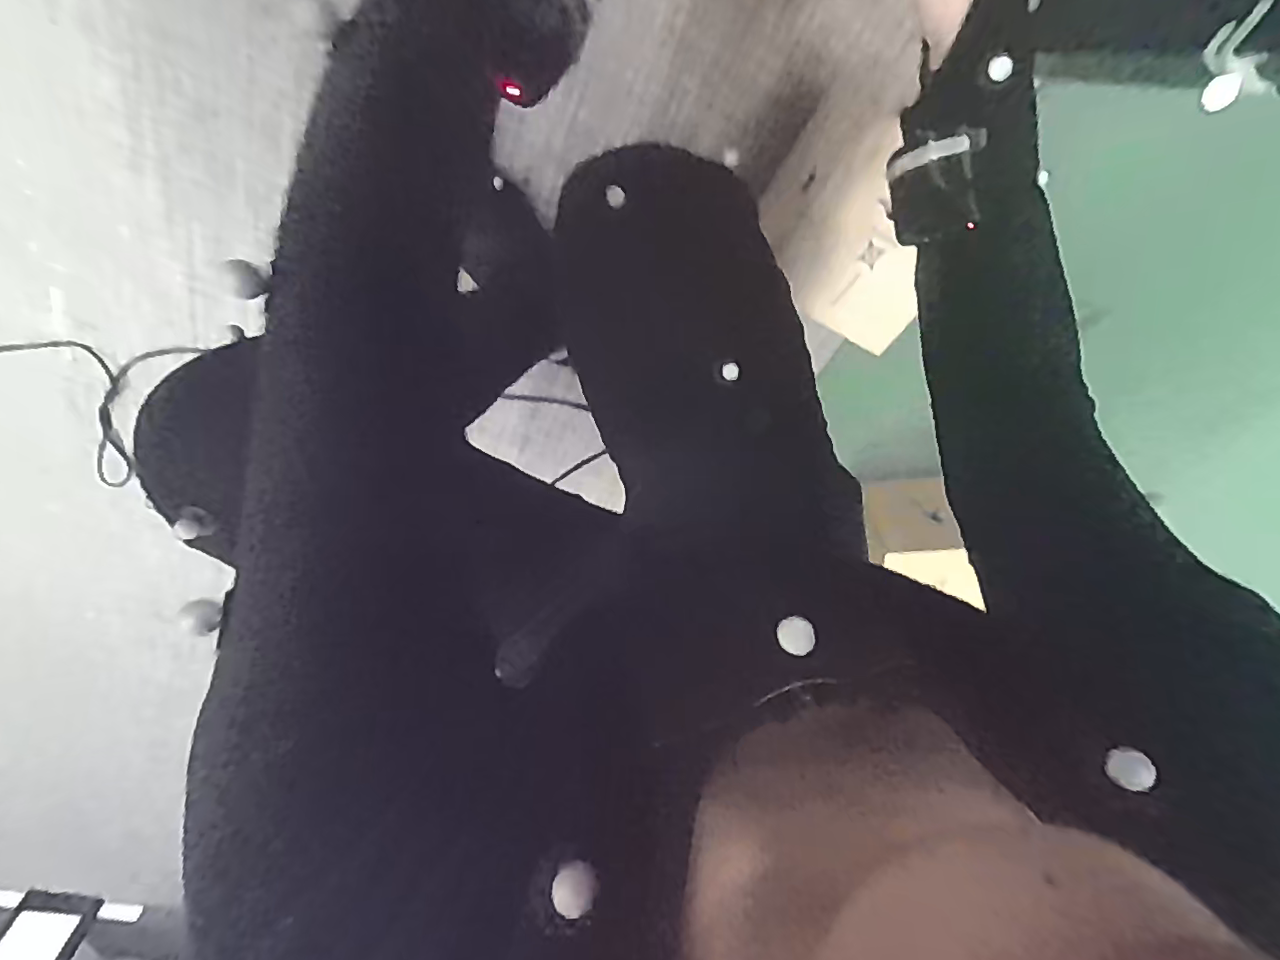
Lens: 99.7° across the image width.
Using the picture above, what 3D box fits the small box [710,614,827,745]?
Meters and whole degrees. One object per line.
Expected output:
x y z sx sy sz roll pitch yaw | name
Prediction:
0.251 0.402 1.096 0.179 0.176 0.168 -25 124 18 | small box
